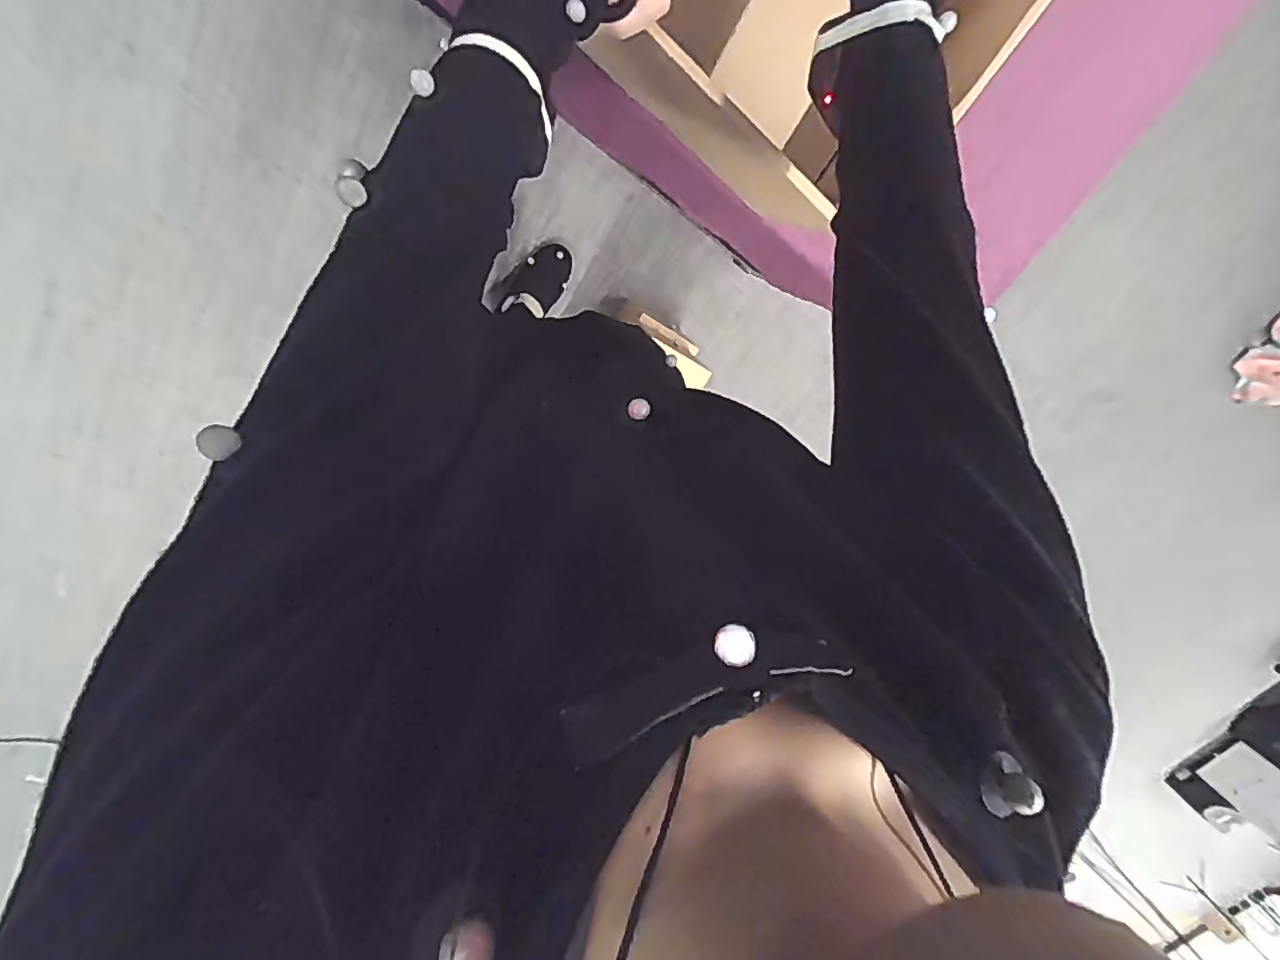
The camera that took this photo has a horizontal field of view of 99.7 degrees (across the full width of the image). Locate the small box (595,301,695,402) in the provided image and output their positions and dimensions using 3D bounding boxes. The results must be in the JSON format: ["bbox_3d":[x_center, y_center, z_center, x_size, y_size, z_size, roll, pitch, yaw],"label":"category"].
[{"bbox_3d":[0.006,-0.333,1.378,0.179,0.176,0.168,26,110,-26],"label":"small box"}]
